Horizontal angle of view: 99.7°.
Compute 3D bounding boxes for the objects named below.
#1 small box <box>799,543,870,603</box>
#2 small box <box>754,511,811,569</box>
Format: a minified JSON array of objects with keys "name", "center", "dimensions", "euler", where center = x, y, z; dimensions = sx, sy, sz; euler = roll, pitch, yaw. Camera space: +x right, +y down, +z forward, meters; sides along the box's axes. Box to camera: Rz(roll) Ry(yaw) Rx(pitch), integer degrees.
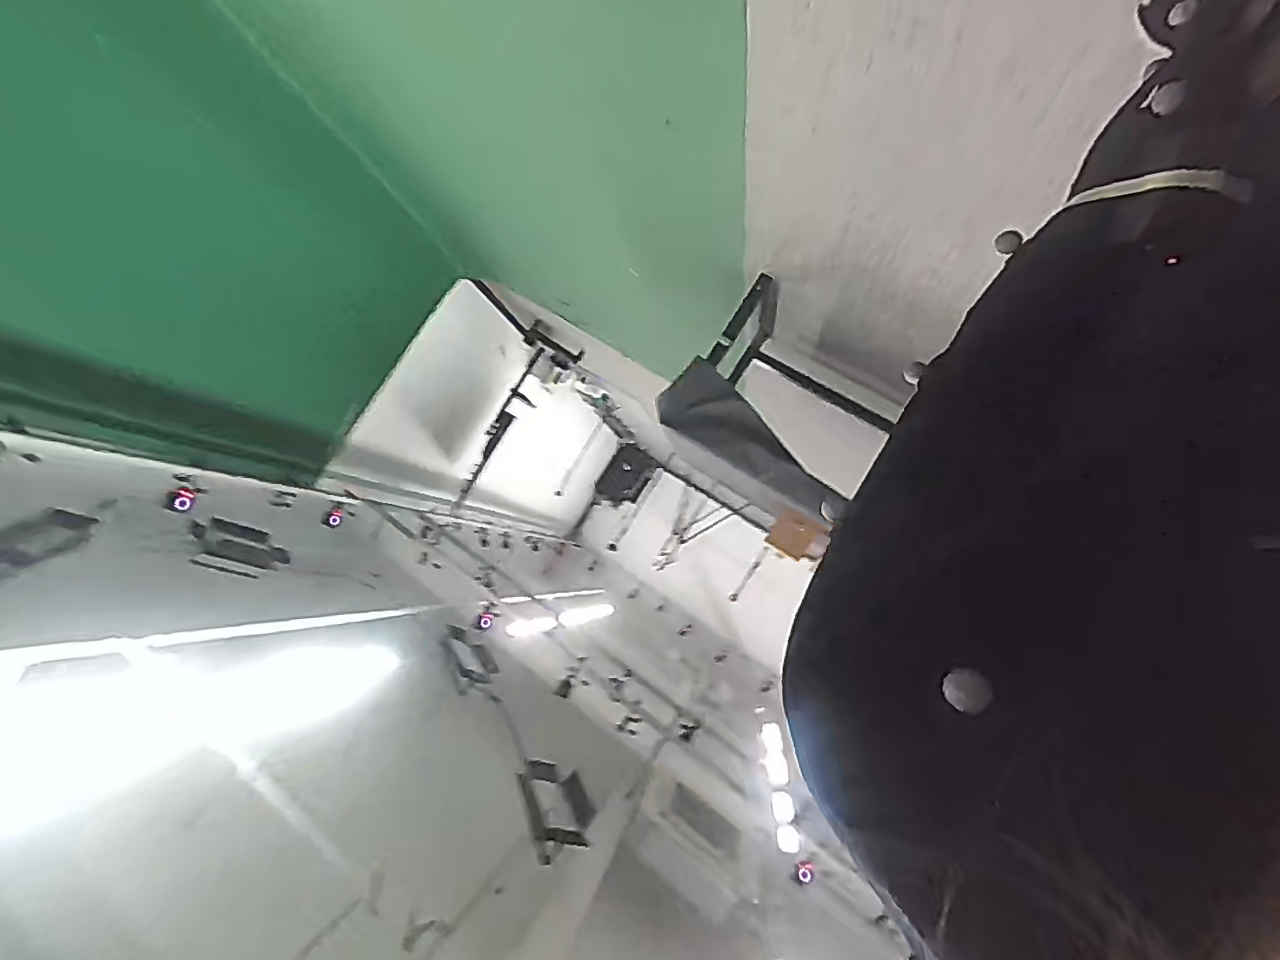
[{"name":"small box","center":[0.764,0.361,2.130],"dimensions":[0.179,0.176,0.168],"euler":[32,177,6]},{"name":"small box","center":[0.580,0.245,2.208],"dimensions":[0.168,0.176,0.179],"euler":[31,176,17]}]
